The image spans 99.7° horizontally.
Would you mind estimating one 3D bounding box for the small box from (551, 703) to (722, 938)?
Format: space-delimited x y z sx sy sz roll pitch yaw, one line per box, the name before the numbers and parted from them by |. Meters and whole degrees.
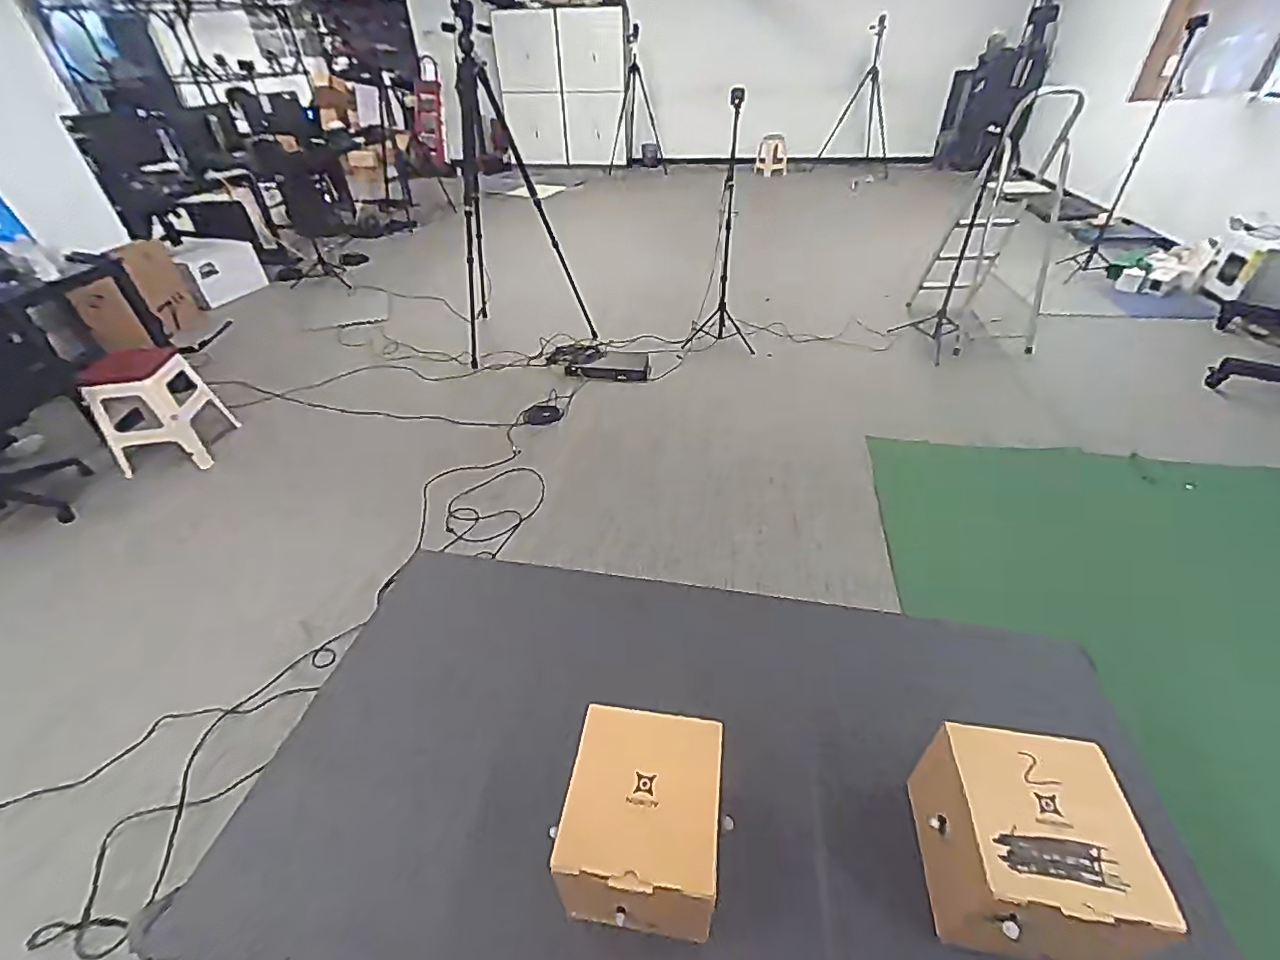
small box | 0.003 0.398 0.639 0.168 0.176 0.179 5 40 7
